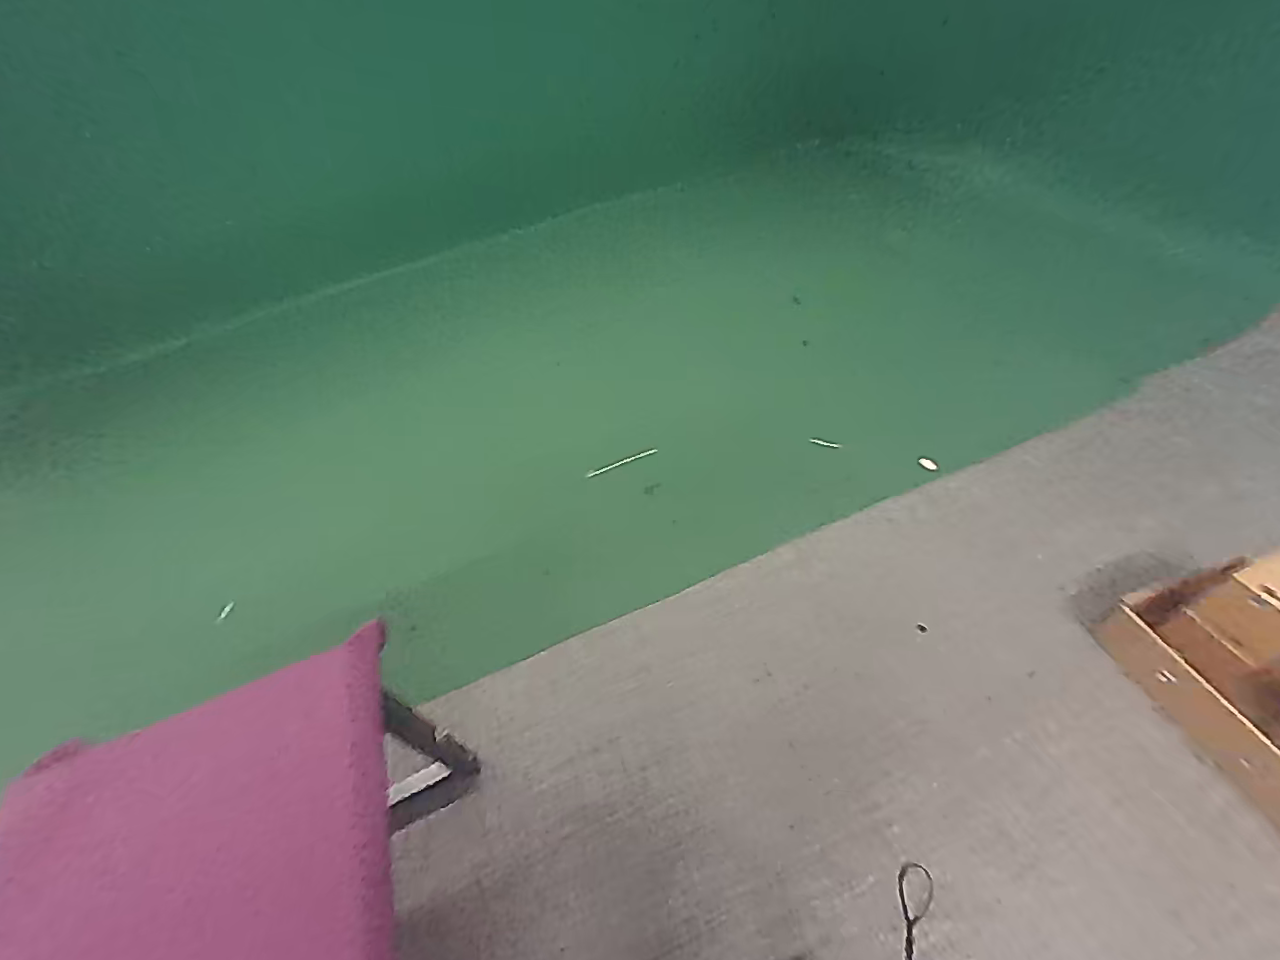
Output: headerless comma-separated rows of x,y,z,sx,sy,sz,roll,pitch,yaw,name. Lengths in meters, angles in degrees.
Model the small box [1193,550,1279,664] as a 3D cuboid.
1.443,0.287,1.231,0.179,0.176,0.168,-19,47,-9,small box
